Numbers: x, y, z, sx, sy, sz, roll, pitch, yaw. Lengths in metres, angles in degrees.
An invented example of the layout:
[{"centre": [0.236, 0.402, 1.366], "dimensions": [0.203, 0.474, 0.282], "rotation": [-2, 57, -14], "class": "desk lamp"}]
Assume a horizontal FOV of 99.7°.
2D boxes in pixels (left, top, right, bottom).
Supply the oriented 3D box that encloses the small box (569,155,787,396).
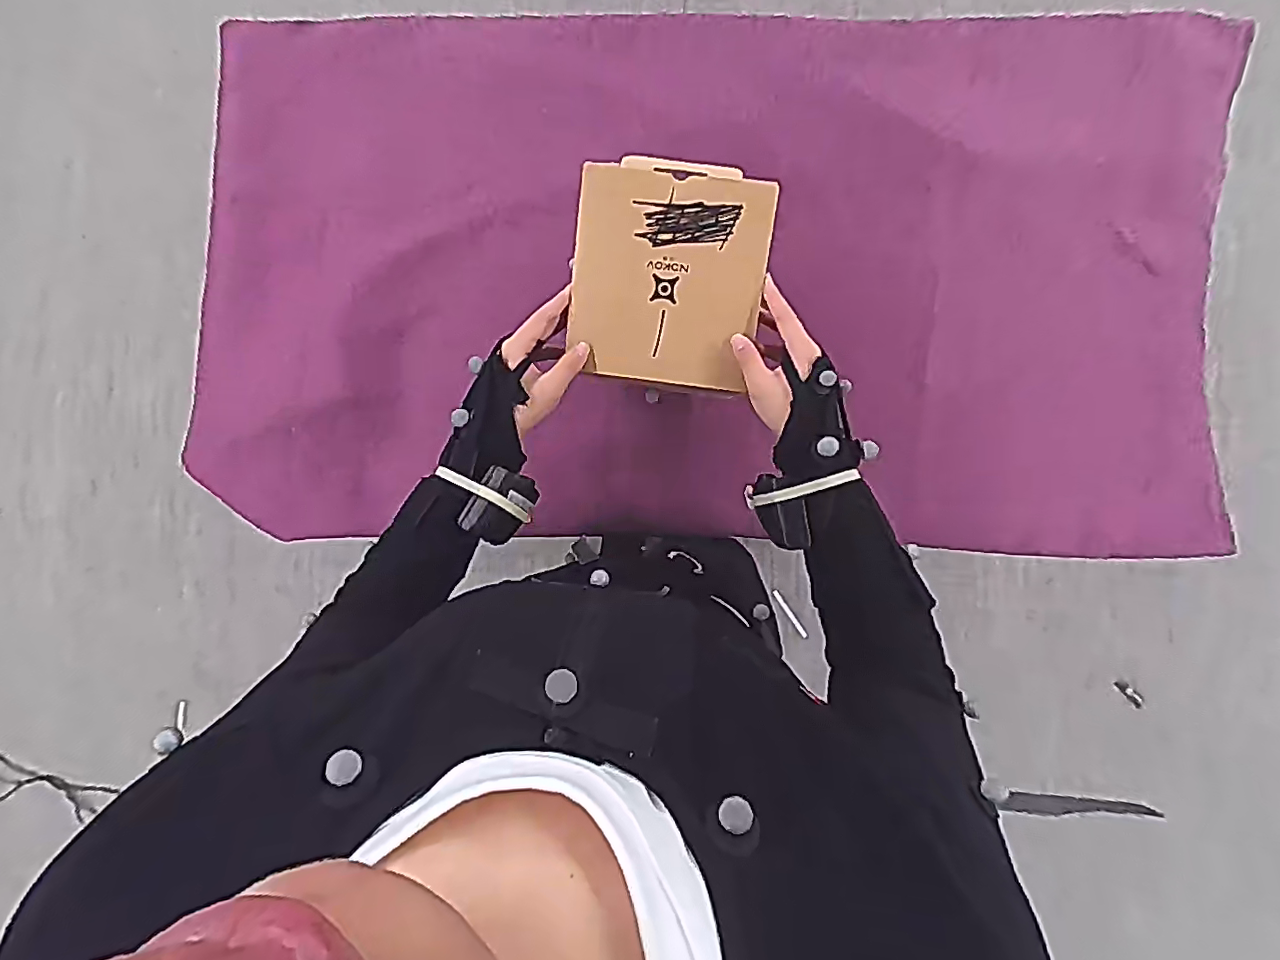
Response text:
[{"centre": [0.034, -0.183, 0.535], "dimensions": [0.168, 0.176, 0.179], "rotation": [8, 97, 3], "class": "small box"}]
